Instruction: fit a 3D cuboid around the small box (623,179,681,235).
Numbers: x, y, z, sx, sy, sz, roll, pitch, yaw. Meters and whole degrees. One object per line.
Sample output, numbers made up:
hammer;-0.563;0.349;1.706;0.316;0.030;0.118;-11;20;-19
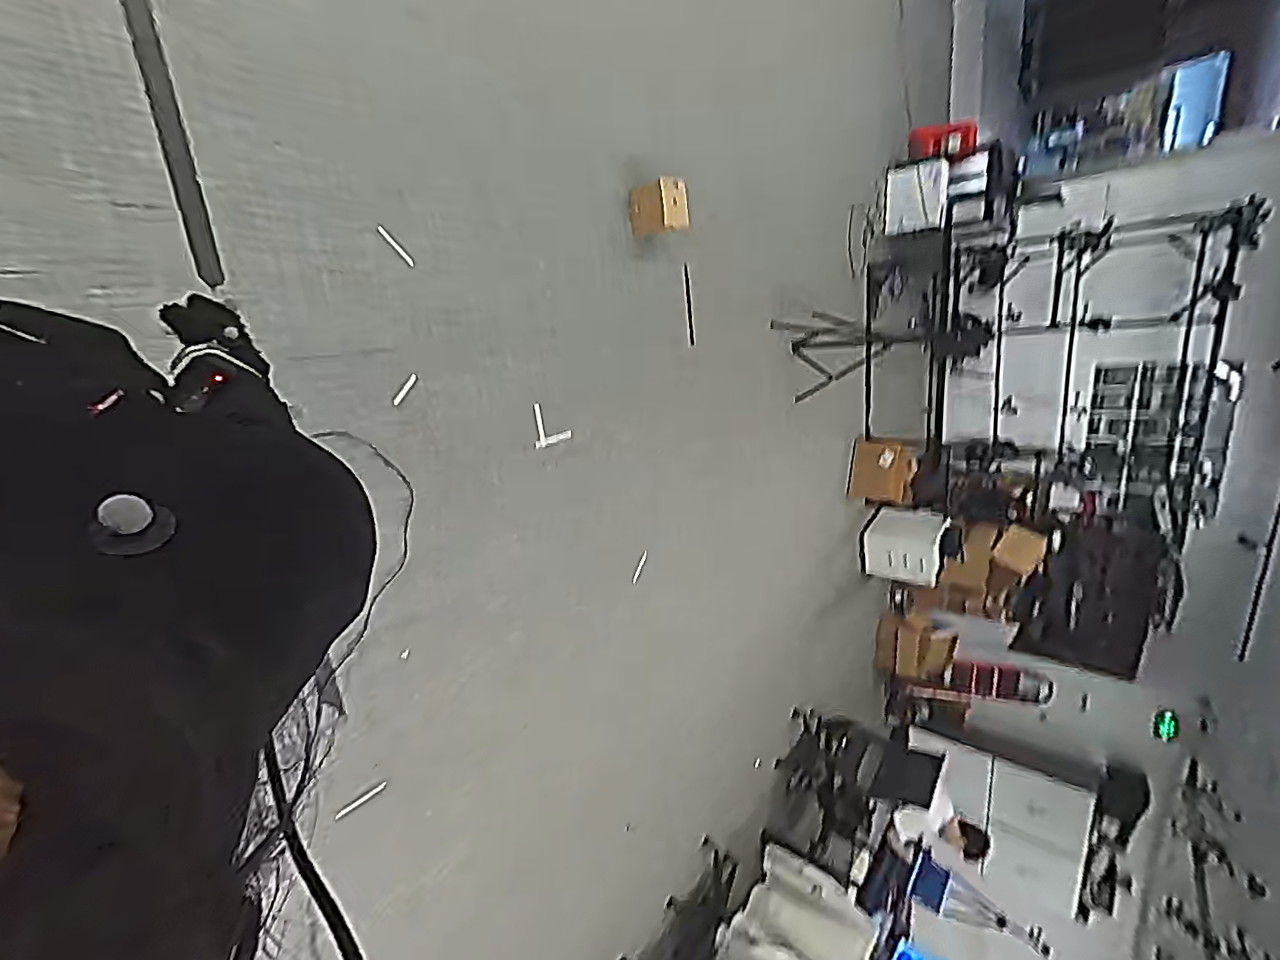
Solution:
small box;0.048;-1.107;2.206;0.168;0.176;0.179;-25;115;-46
